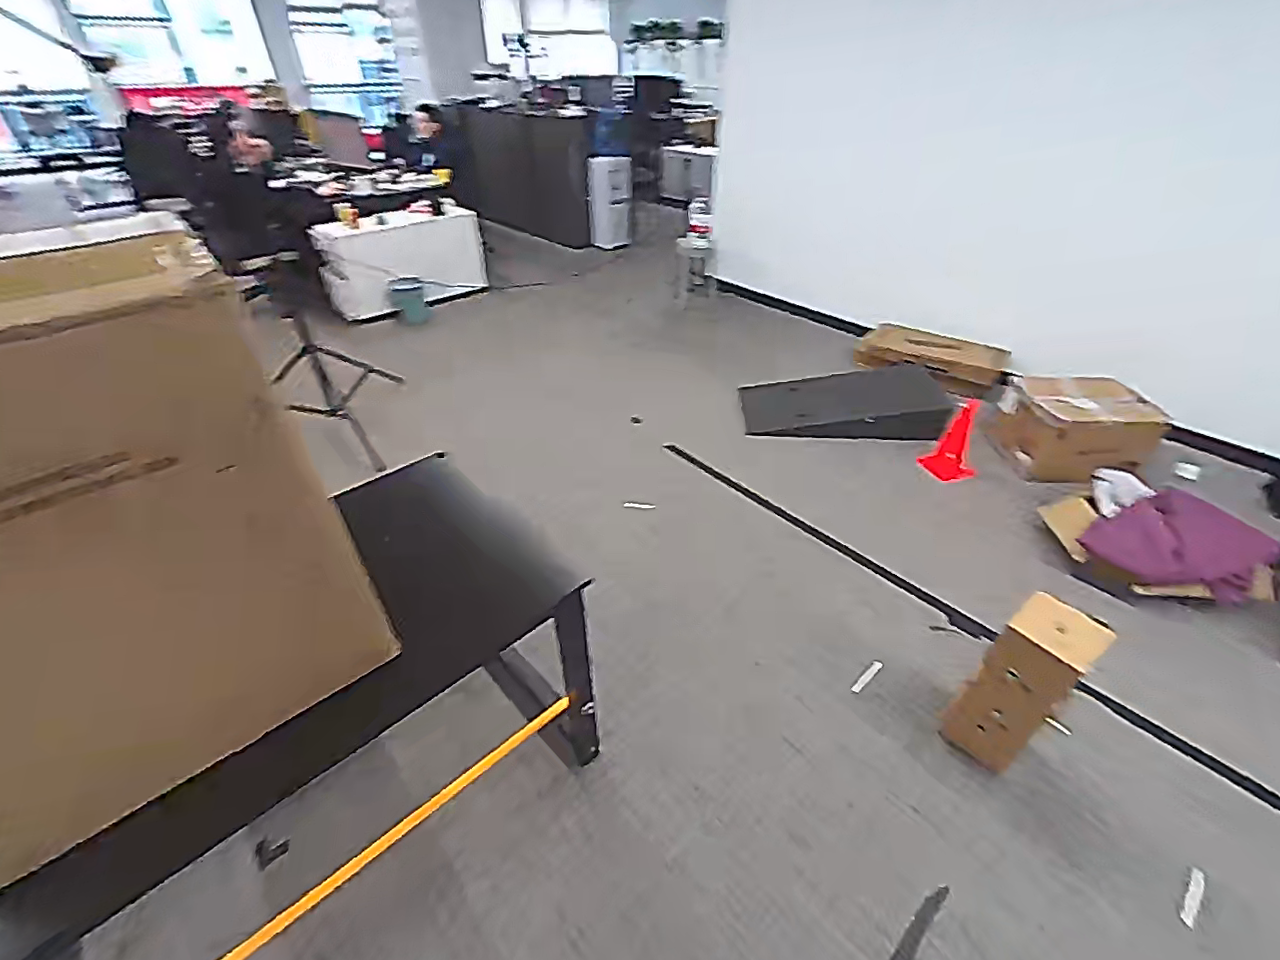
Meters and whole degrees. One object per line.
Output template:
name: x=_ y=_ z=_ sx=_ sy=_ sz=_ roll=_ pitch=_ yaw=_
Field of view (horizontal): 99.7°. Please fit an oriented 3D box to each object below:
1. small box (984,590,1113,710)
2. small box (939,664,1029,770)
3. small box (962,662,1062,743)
small box: x=0.964 y=0.405 z=1.291 sx=0.179 sy=0.176 sz=0.168 roll=-26 pitch=44 yaw=-28
small box: x=0.965 y=0.658 z=1.499 sx=0.179 sy=0.176 sz=0.168 roll=31 pitch=48 yaw=32
small box: x=0.969 y=0.530 z=1.395 sx=0.179 sy=0.176 sz=0.168 roll=-30 pitch=47 yaw=-32
